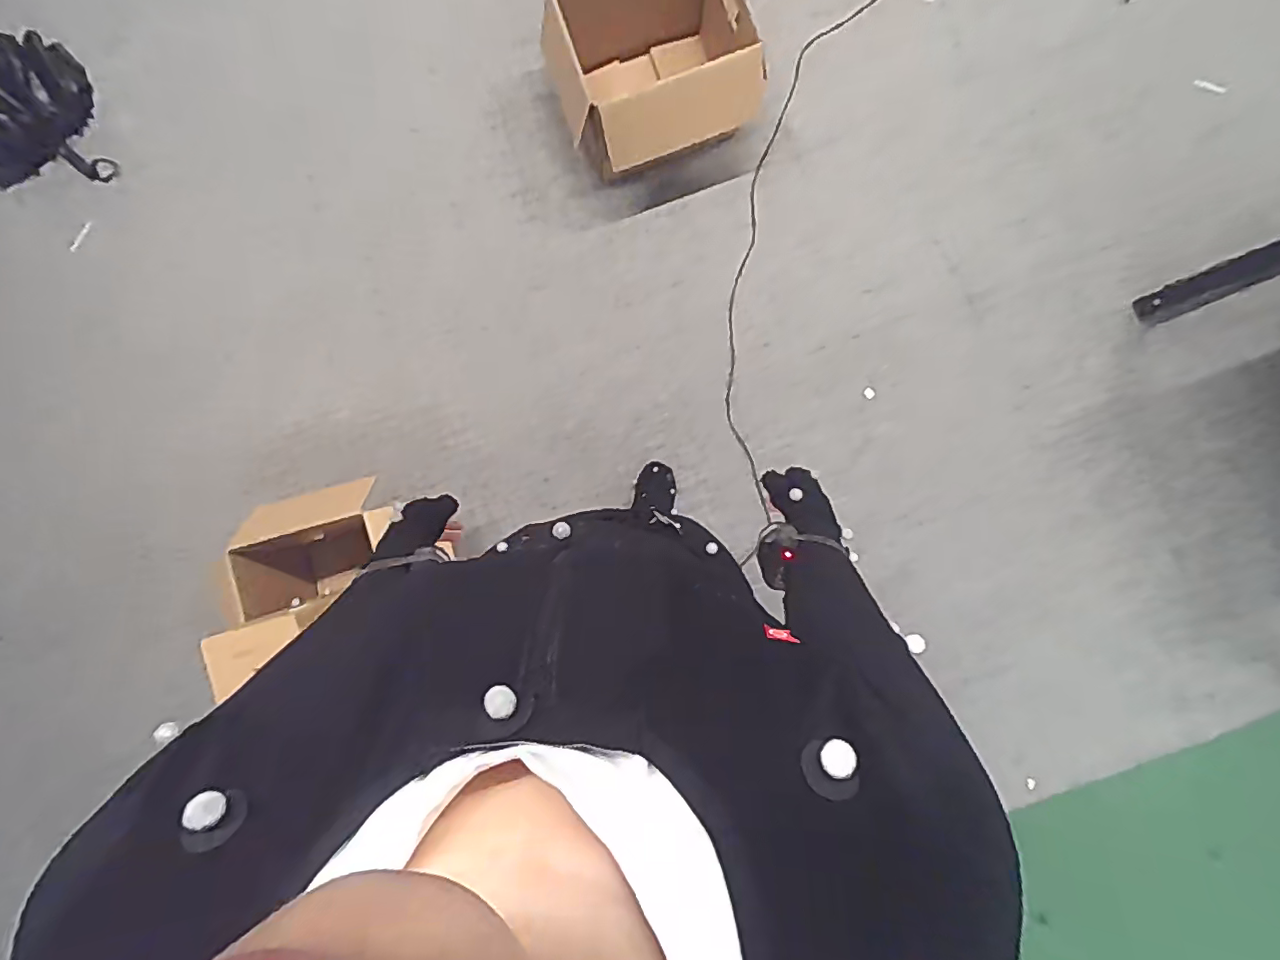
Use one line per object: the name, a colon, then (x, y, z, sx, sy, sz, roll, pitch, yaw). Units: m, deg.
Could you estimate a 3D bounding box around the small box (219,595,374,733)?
small box: (-0.636, 0.338, 1.025, 0.168, 0.176, 0.179, -17, 90, -2)
